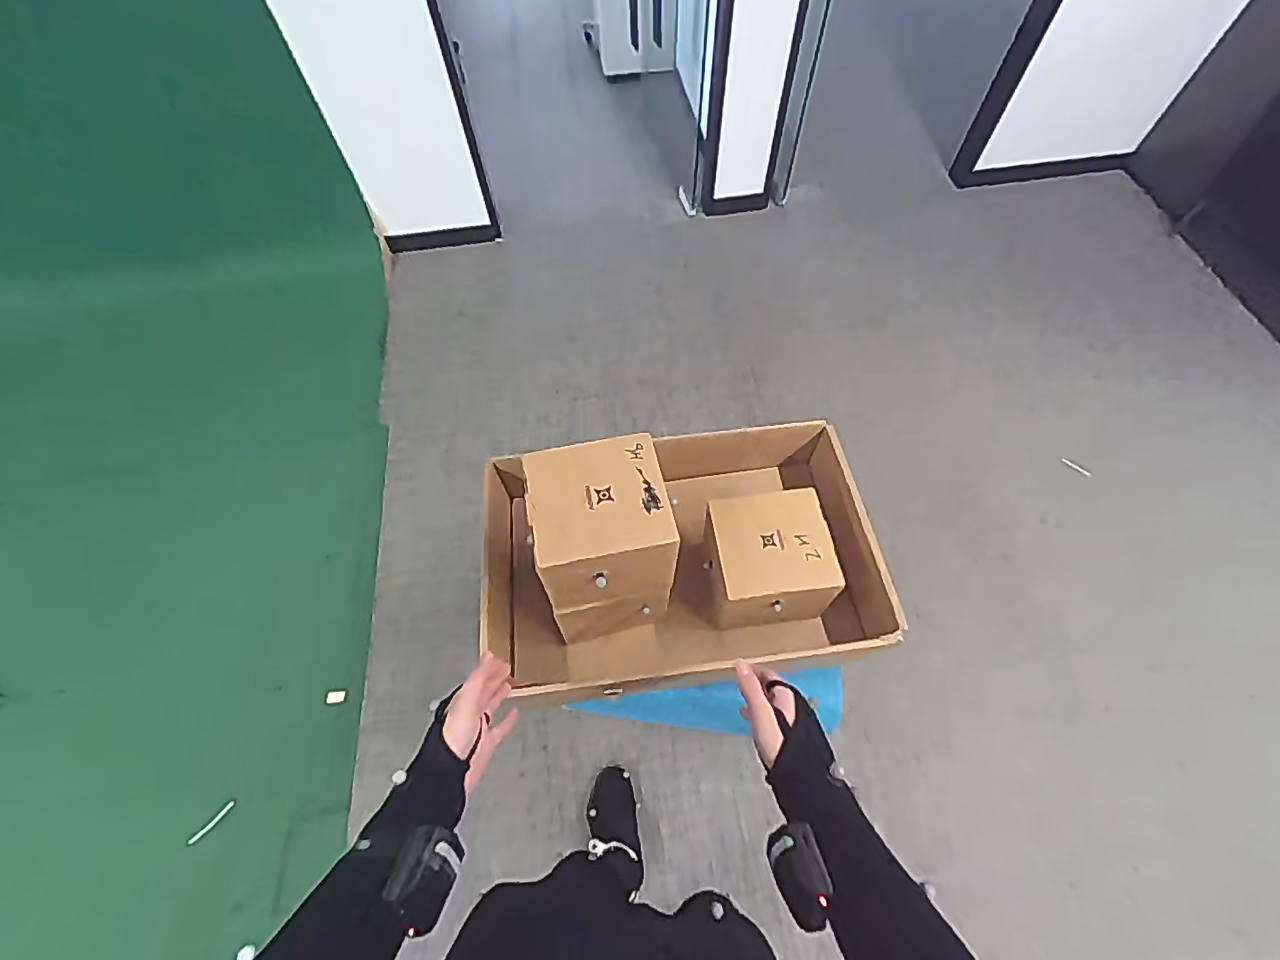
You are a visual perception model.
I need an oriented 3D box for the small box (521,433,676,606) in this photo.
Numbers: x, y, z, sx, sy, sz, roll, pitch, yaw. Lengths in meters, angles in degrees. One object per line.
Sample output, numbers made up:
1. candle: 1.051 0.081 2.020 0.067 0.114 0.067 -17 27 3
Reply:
1. small box: -0.054 0.061 0.746 0.179 0.176 0.168 -11 61 -6
